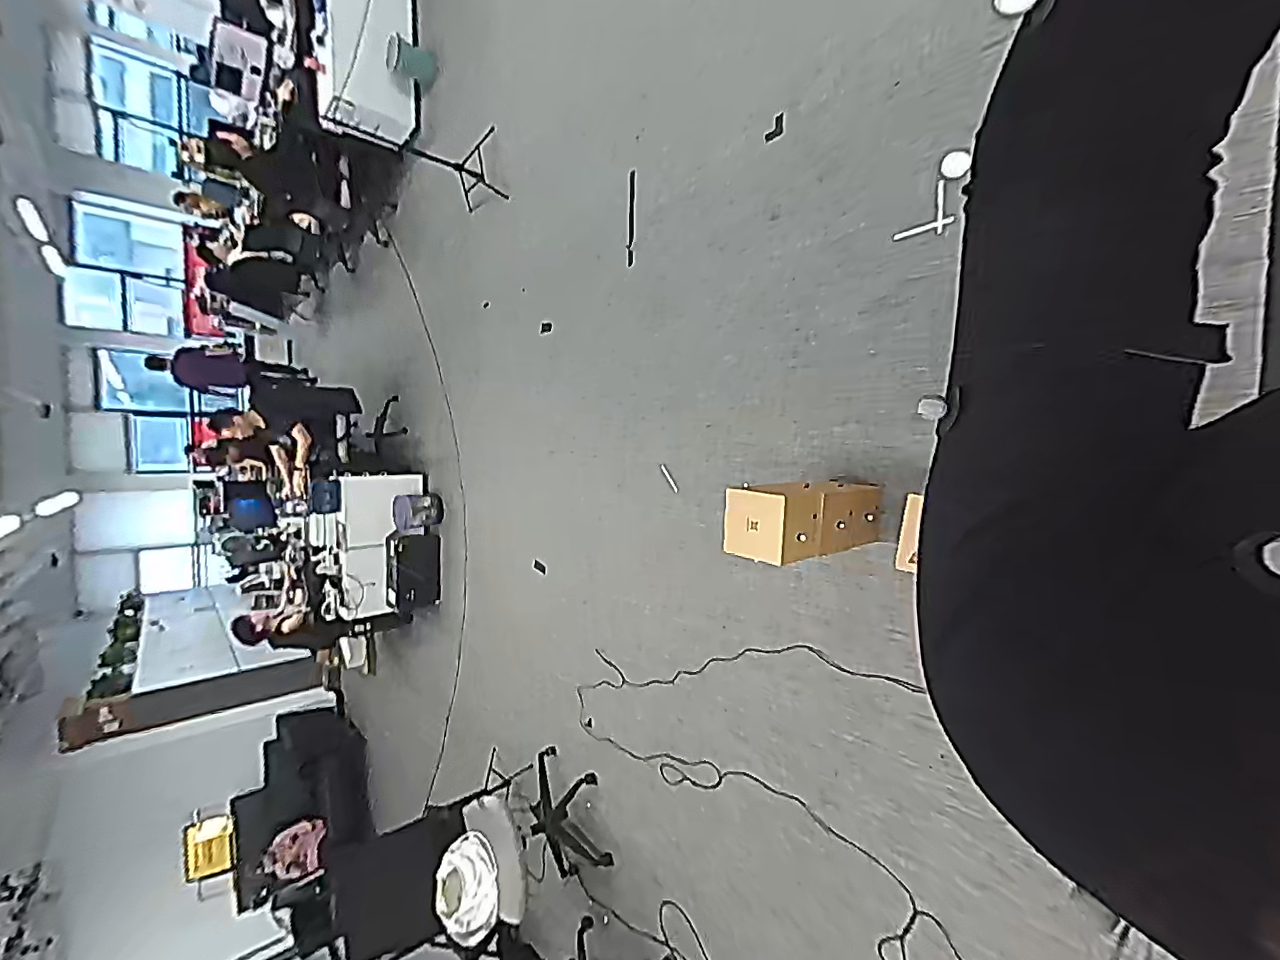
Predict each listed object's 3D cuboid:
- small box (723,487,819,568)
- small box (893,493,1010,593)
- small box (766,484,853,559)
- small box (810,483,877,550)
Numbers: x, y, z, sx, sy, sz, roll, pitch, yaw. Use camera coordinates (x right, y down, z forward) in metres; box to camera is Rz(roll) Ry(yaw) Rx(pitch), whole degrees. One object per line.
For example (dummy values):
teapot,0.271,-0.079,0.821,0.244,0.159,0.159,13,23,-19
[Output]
small box,0.330,0.110,1.356,0.179,0.176,0.168,8,99,49
small box,0.692,0.131,1.198,0.168,0.176,0.179,16,103,47
small box,0.453,0.104,1.462,0.179,0.176,0.168,12,100,48
small box,0.570,0.099,1.579,0.179,0.176,0.168,9,98,48
